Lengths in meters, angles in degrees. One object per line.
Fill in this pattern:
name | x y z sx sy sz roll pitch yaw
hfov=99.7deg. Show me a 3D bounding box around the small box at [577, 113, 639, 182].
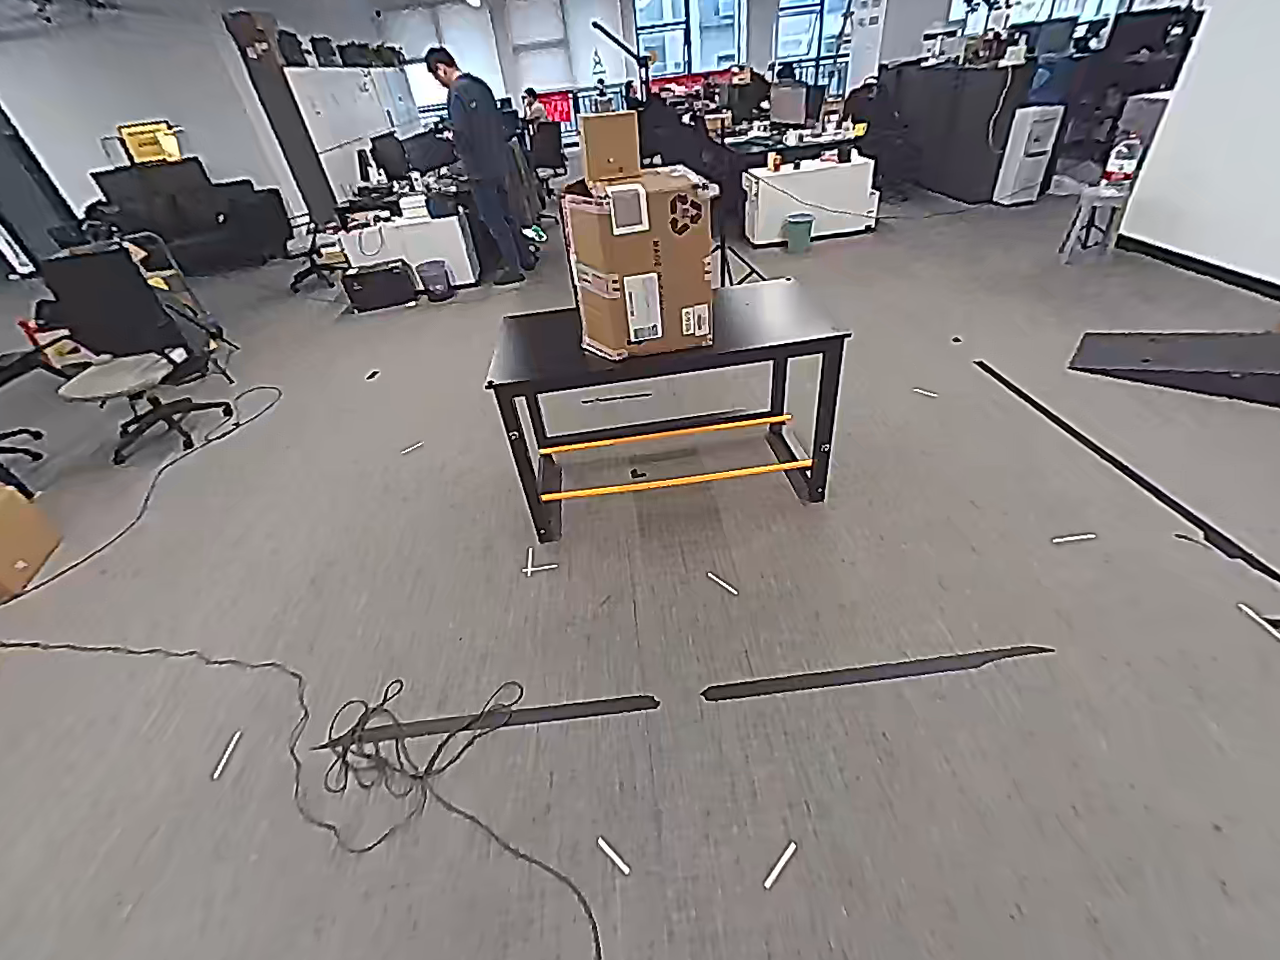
small box | -0.101 -1.042 1.694 0.168 0.176 0.179 -10 36 -6
